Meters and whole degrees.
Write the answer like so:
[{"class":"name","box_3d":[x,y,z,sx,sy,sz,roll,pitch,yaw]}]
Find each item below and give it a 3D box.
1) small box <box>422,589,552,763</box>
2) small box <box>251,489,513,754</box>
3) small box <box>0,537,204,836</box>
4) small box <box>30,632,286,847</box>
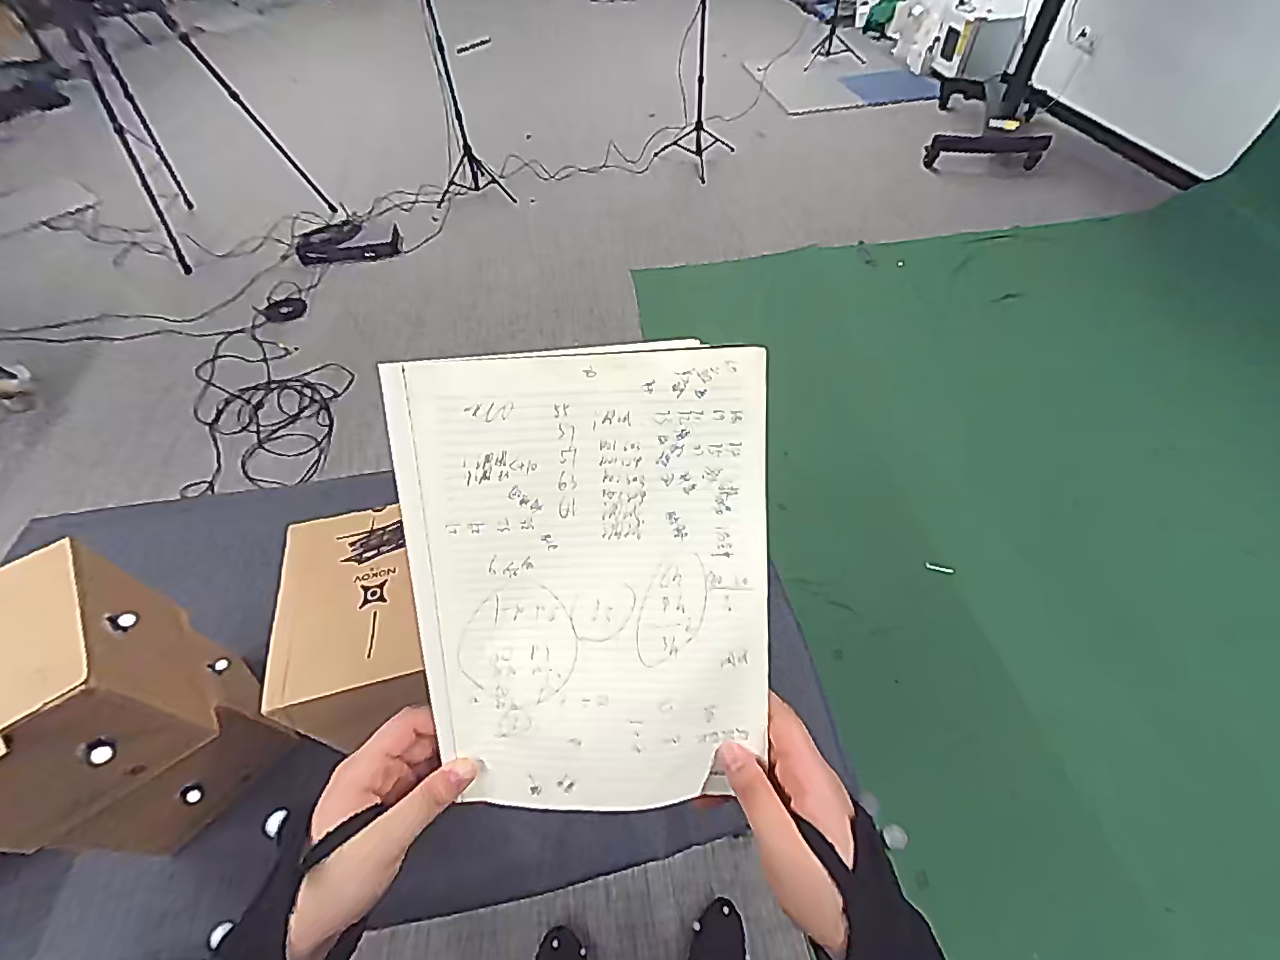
[{"class":"small box","box_3d":[-0.226,0.227,0.664,0.179,0.176,0.168,14,54,14]},{"class":"small box","box_3d":[-0.228,0.139,0.525,0.168,0.176,0.179,-13,53,-7]},{"class":"small box","box_3d":[-0.549,0.193,0.496,0.168,0.176,0.179,-32,57,-22]},{"class":"small box","box_3d":[-0.562,0.289,0.628,0.179,0.176,0.168,33,59,24]}]
